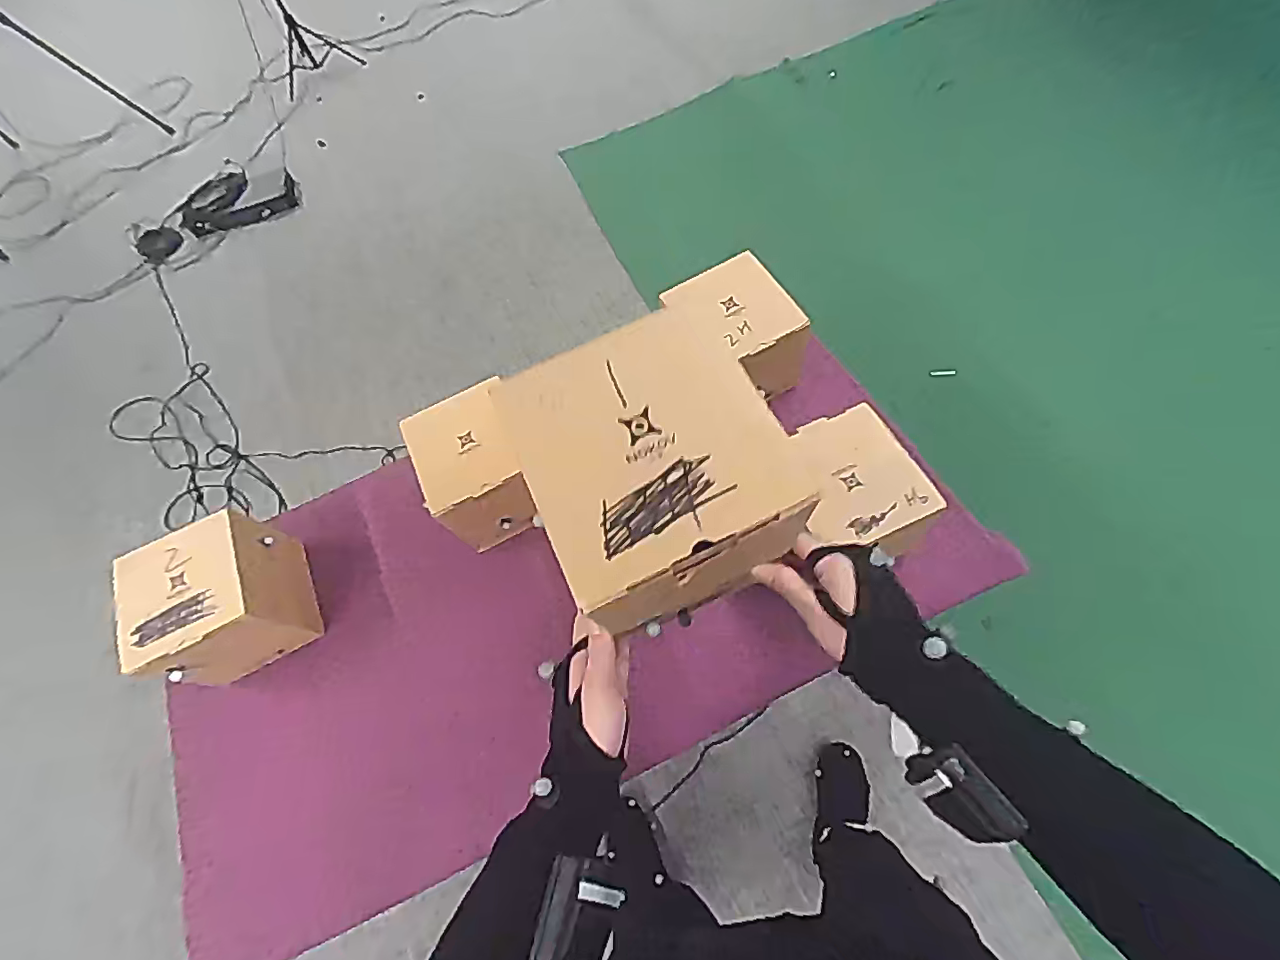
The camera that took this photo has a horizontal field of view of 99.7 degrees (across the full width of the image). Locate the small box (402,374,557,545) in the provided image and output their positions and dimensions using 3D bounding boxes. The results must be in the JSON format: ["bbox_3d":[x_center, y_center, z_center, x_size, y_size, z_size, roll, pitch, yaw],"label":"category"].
[{"bbox_3d":[-0.236,-0.026,0.842,0.168,0.176,0.179,-27,66,-6],"label":"small box"}]

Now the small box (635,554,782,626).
[{"bbox_3d":[0.035,0.038,0.573,0.168,0.176,0.179,-23,69,-3],"label":"small box"}]

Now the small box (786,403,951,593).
[{"bbox_3d":[0.278,0.031,0.750,0.168,0.176,0.179,-24,62,-3],"label":"small box"}]

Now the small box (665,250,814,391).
[{"bbox_3d":[0.155,-0.229,0.885,0.168,0.176,0.179,-28,65,-3],"label":"small box"}]

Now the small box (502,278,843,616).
[{"bbox_3d":[0.022,-0.008,0.415,0.168,0.176,0.179,-25,68,-4],"label":"small box"}]
